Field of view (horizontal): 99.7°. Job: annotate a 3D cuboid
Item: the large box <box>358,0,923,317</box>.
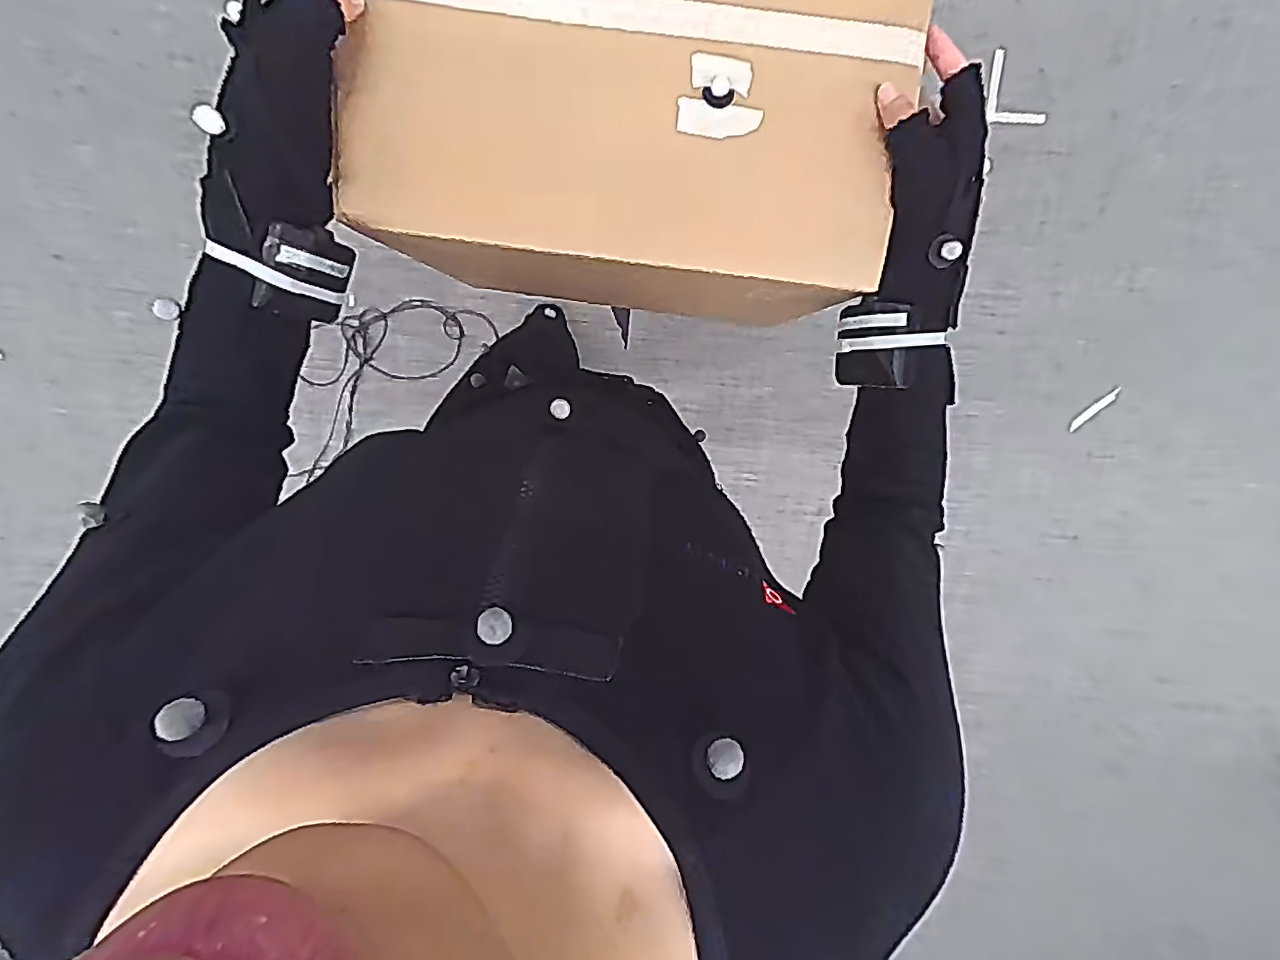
[{"bbox_3d":[-0.002,-0.354,0.532,0.408,0.320,0.320,7,101,-2],"label":"large box"}]
